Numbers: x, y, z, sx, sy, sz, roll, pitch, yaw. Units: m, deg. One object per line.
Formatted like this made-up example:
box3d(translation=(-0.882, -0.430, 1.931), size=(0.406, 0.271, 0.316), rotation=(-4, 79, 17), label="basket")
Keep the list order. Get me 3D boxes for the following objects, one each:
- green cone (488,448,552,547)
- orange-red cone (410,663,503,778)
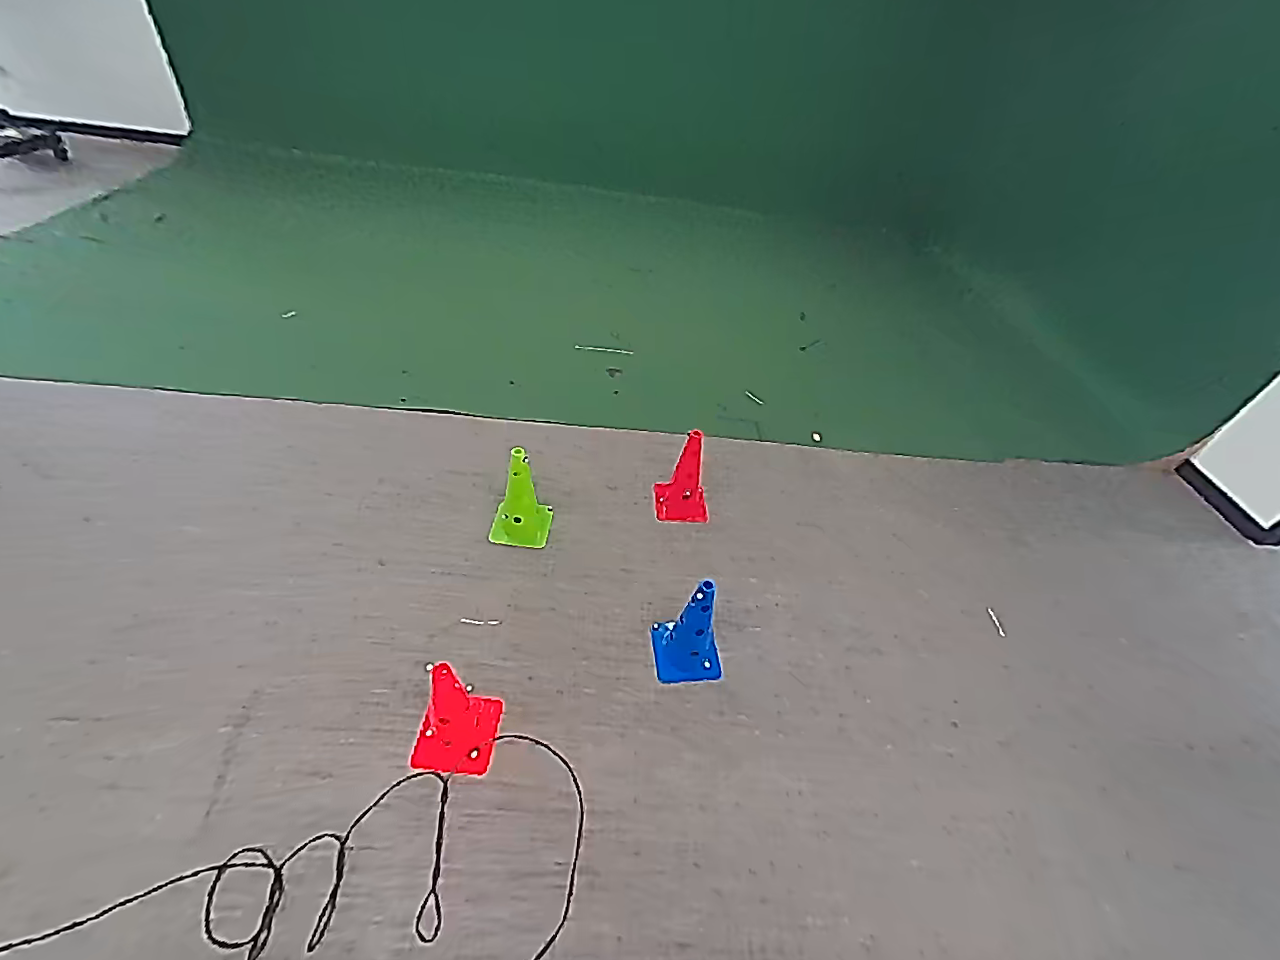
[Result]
box3d(translation=(-0.412, 0.035, 1.830), size=(0.200, 0.368, 0.202), rotation=(6, 45, -3), label="green cone")
box3d(translation=(-0.454, 0.542, 1.304), size=(0.198, 0.360, 0.199), rotation=(9, 42, -2), label="orange-red cone")
